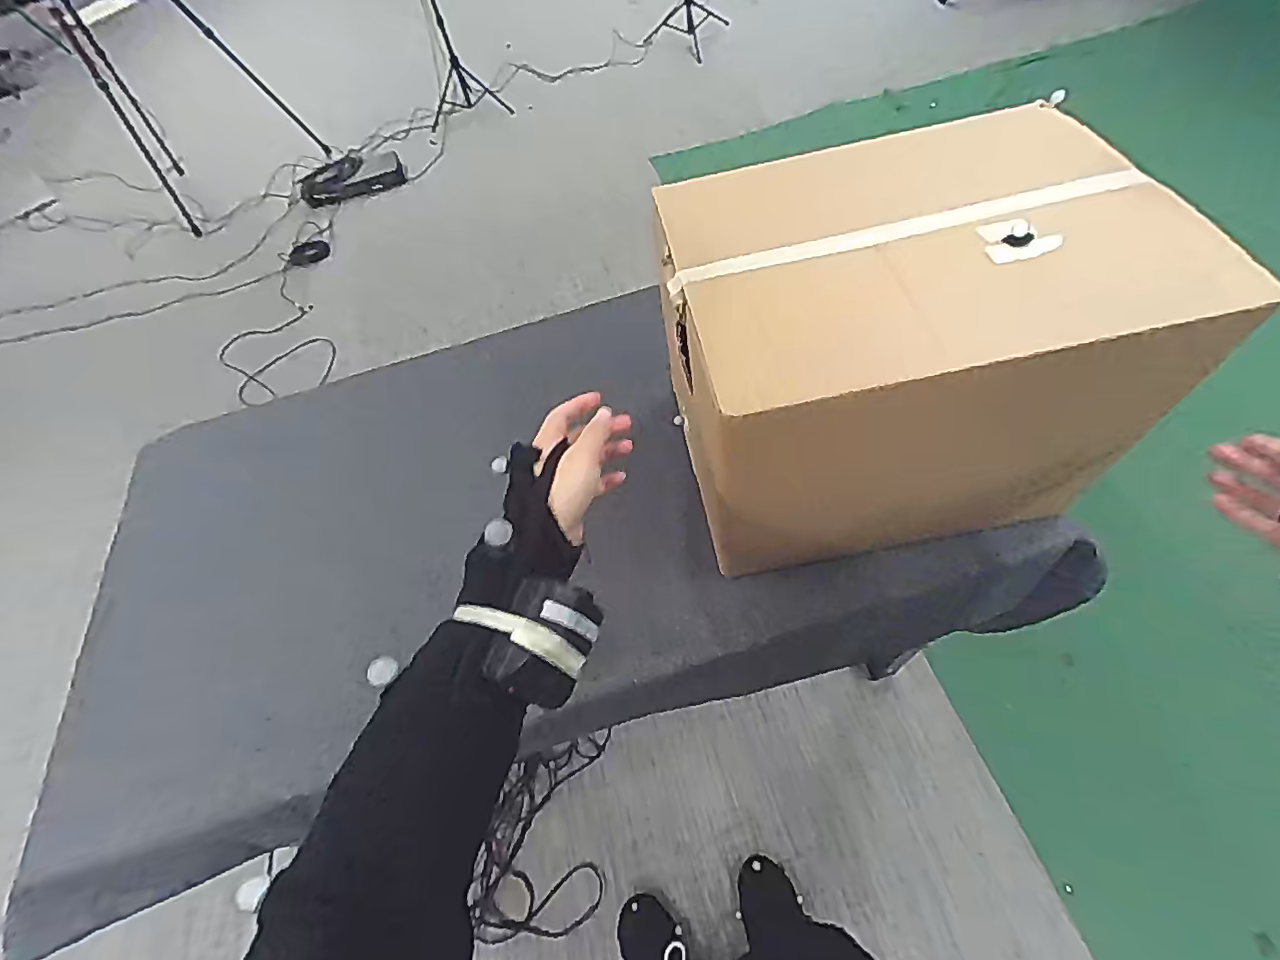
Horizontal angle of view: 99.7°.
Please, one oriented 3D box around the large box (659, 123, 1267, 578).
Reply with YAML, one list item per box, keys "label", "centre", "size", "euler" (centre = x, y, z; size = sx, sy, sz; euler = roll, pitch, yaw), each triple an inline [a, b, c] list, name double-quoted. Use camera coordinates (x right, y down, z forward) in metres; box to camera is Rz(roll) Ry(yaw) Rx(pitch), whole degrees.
- label: "large box"
  centre: [0.253, -0.124, 0.596]
  size: [0.408, 0.320, 0.320]
  euler: [-11, 57, 1]
